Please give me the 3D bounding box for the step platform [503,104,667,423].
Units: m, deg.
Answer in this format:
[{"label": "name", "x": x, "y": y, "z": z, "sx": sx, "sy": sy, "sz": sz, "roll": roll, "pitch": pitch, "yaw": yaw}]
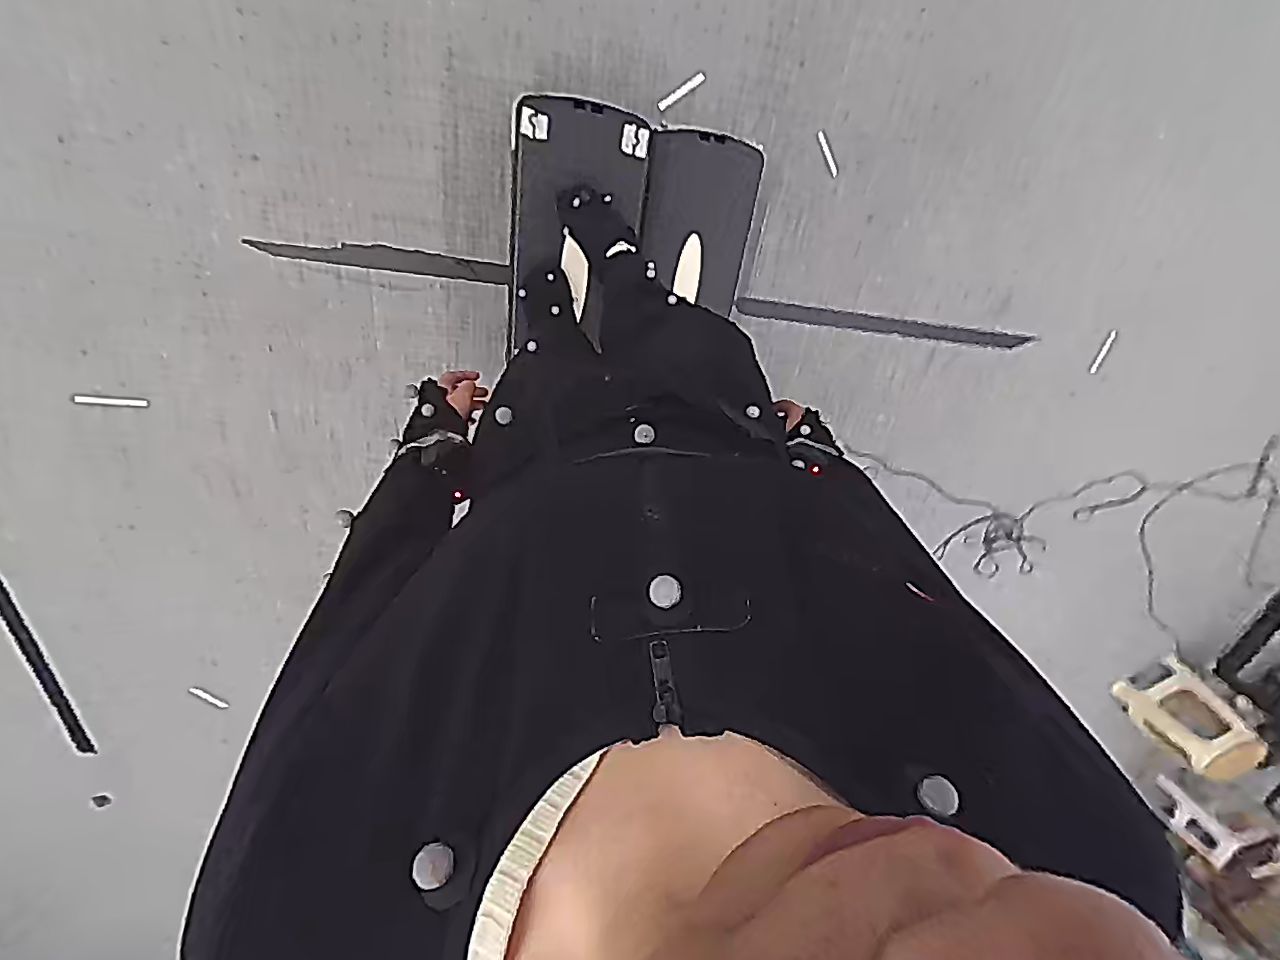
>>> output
[{"label": "step platform", "x": -0.149, "y": -0.476, "z": 1.286, "sx": 0.286, "sy": 0.204, "sz": 0.684, "roll": 6, "pitch": 116, "yaw": -15}]
